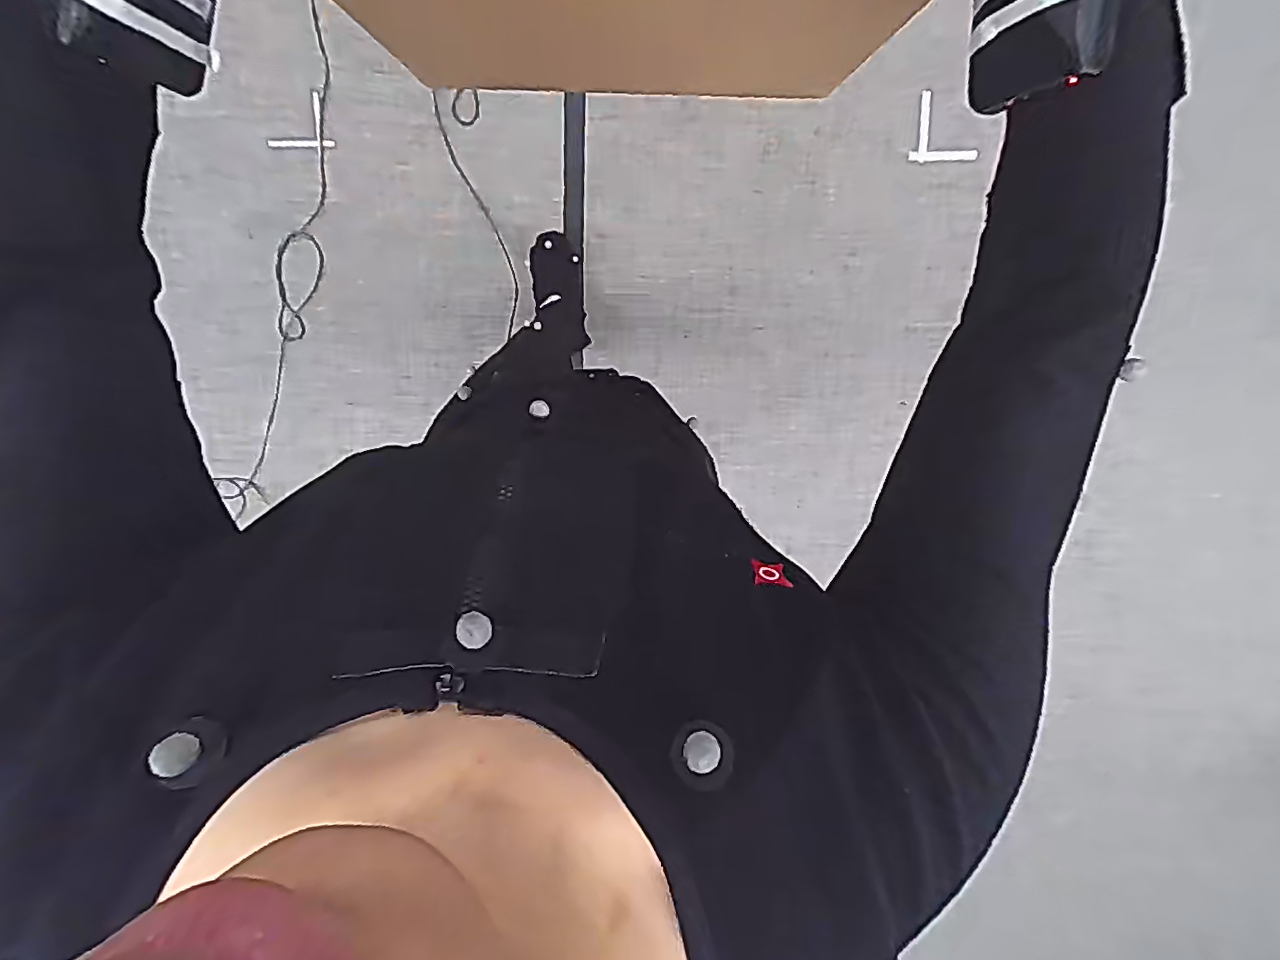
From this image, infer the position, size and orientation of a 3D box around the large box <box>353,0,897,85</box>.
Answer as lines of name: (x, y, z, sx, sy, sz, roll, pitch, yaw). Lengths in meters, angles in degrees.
large box: (-0.011, -0.487, 0.348, 0.408, 0.320, 0.320, 0, 111, -1)
